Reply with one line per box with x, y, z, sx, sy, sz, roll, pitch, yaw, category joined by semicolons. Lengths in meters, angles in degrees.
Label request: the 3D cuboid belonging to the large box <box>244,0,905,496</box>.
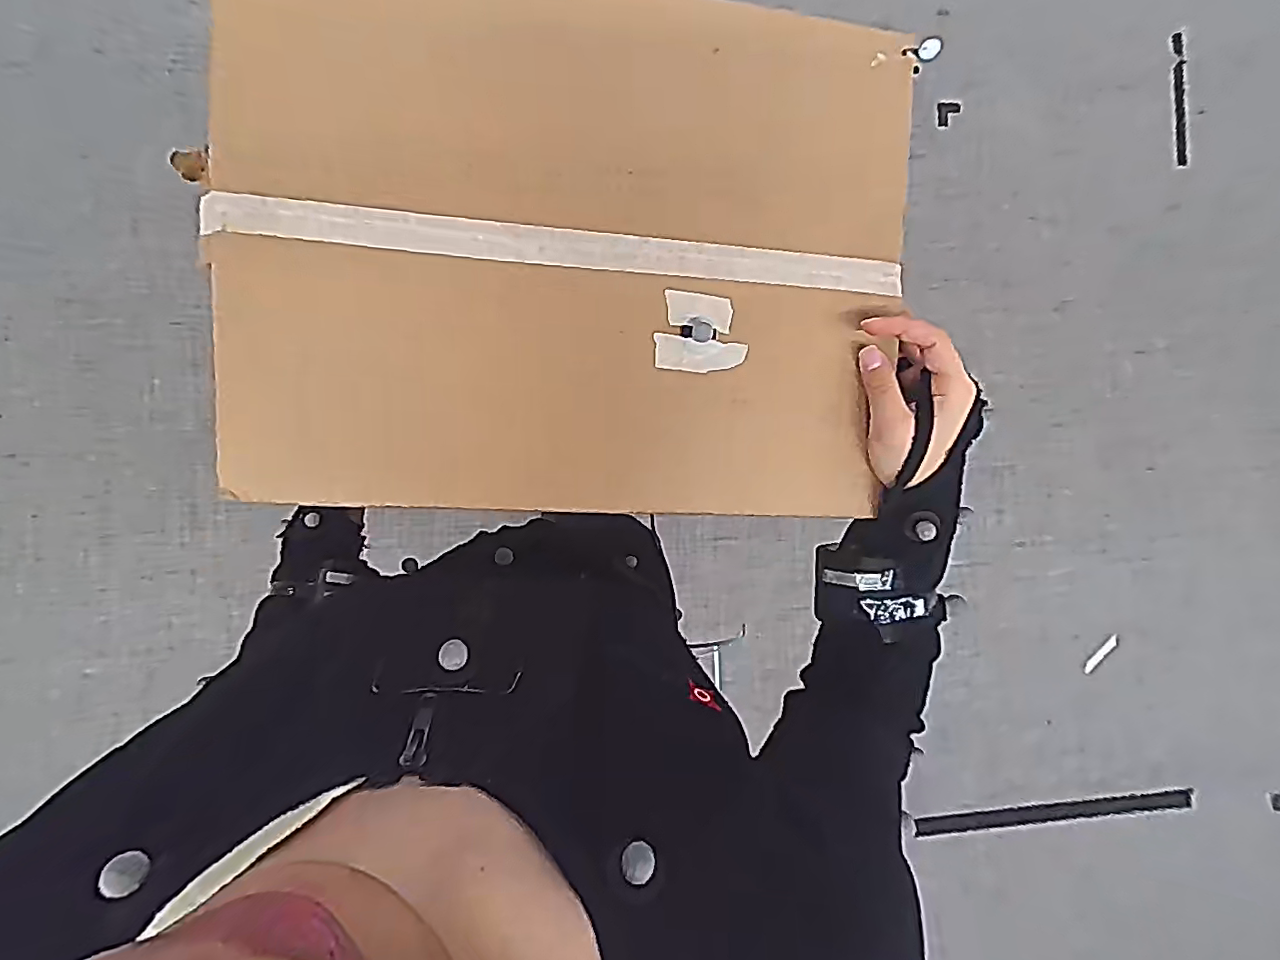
-0.051;-0.156;0.478;0.408;0.320;0.320;2;95;-11;large box
